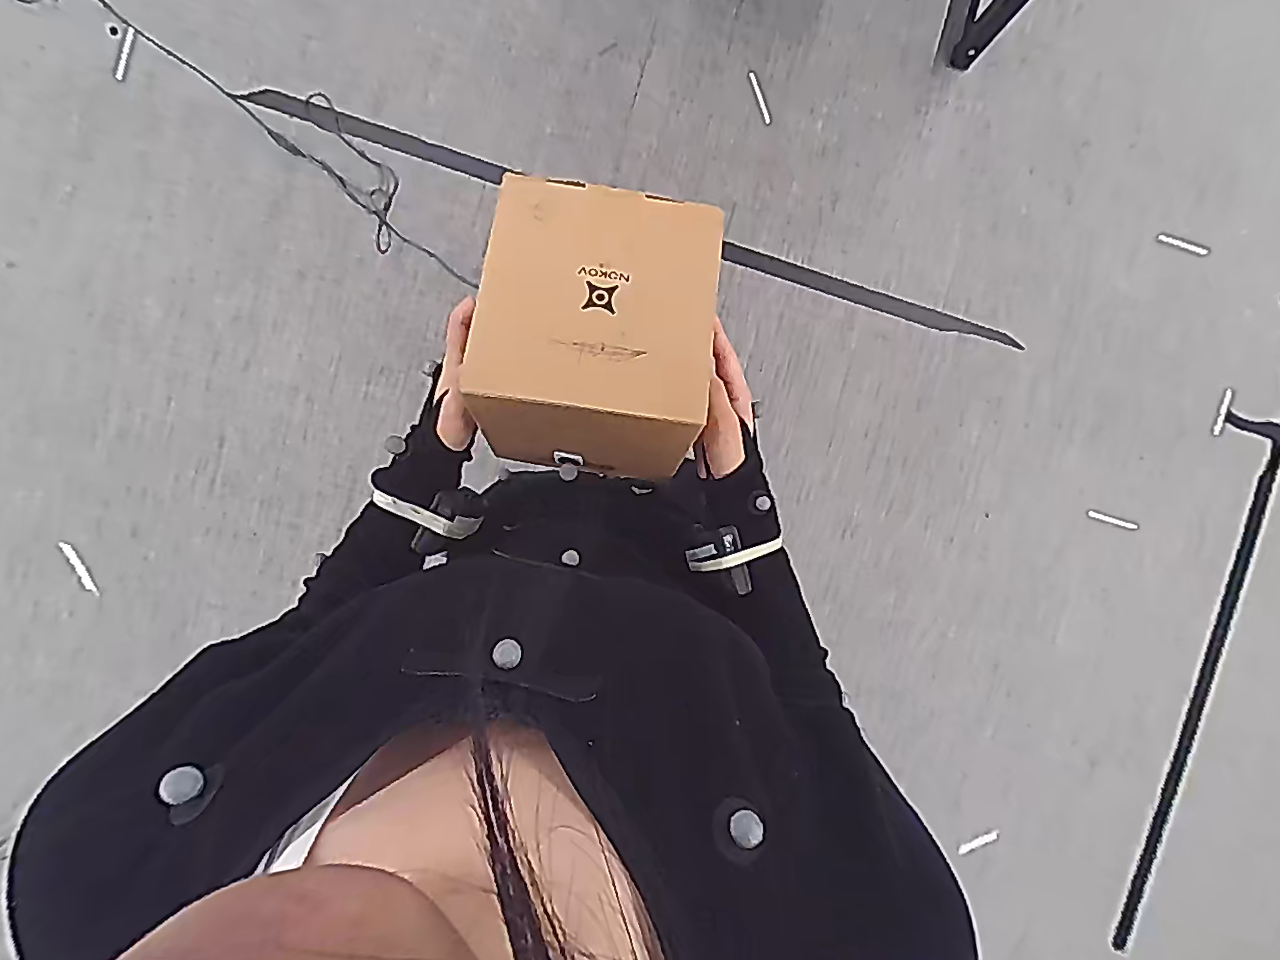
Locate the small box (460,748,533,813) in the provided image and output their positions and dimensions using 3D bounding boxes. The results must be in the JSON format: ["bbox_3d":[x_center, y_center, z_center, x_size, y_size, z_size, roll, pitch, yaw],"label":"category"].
[{"bbox_3d":[-0.389,0.847,1.420,0.168,0.176,0.179,19,91,-4],"label":"small box"}]

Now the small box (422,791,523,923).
[{"bbox_3d":[-0.379,0.864,1.256,0.168,0.176,0.179,15,92,-4],"label":"small box"}]

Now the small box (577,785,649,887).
[{"bbox_3d":[-0.075,0.943,1.444,0.179,0.176,0.168,4,92,-4],"label":"small box"}]

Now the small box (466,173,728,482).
[{"bbox_3d":[-0.031,-0.109,0.451,0.168,0.176,0.179,7,76,-3],"label":"small box"}]
